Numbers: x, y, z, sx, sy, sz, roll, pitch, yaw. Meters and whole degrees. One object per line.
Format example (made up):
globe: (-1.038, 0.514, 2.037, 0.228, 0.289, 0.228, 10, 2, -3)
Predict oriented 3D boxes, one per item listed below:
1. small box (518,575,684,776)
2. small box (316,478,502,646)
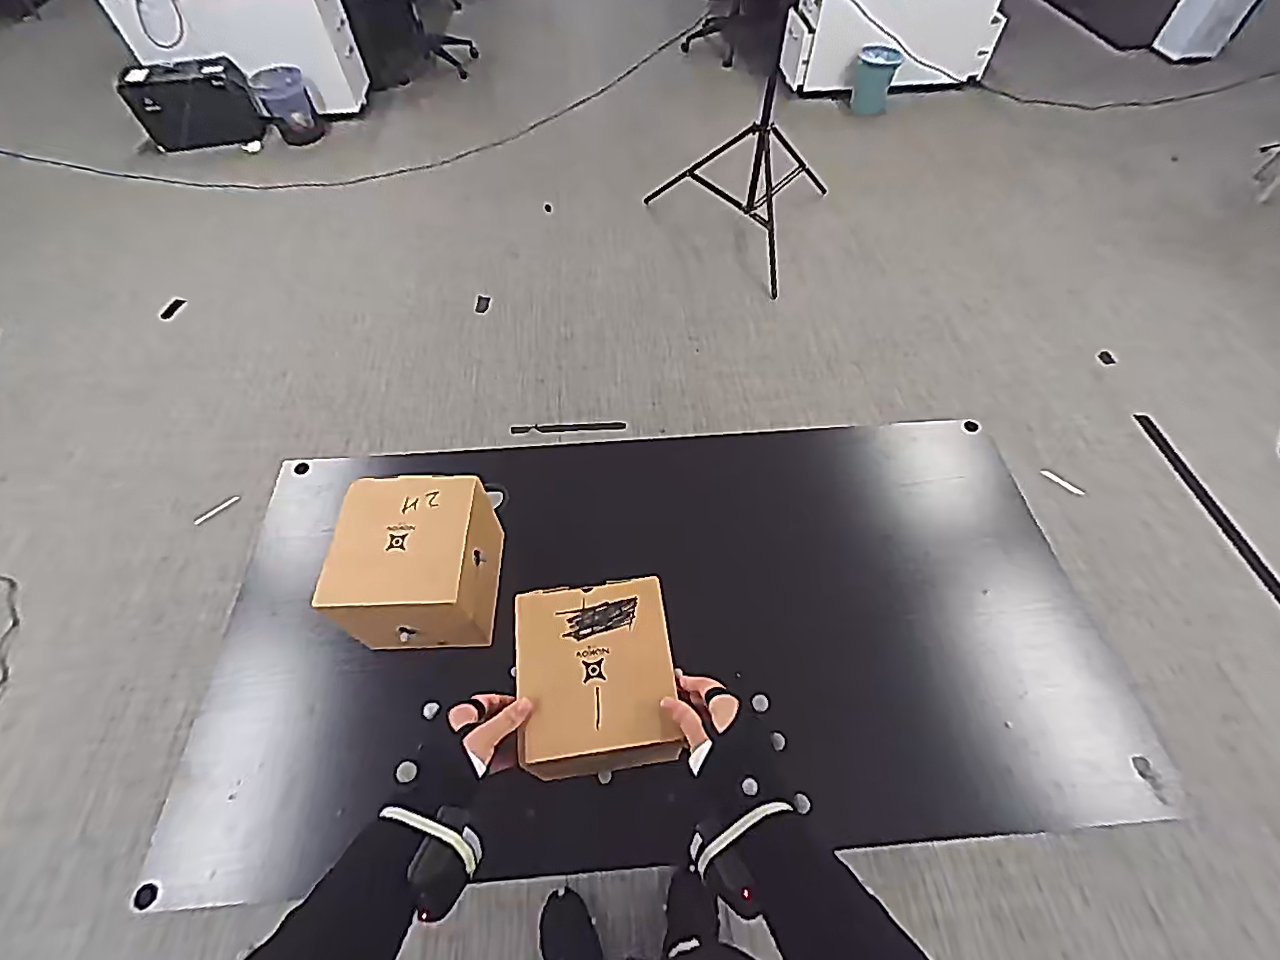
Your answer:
small box: (-0.048, 0.234, 0.640, 0.168, 0.176, 0.179, -8, 57, -4)
small box: (-0.289, 0.116, 0.724, 0.168, 0.176, 0.179, -2, 56, -1)
